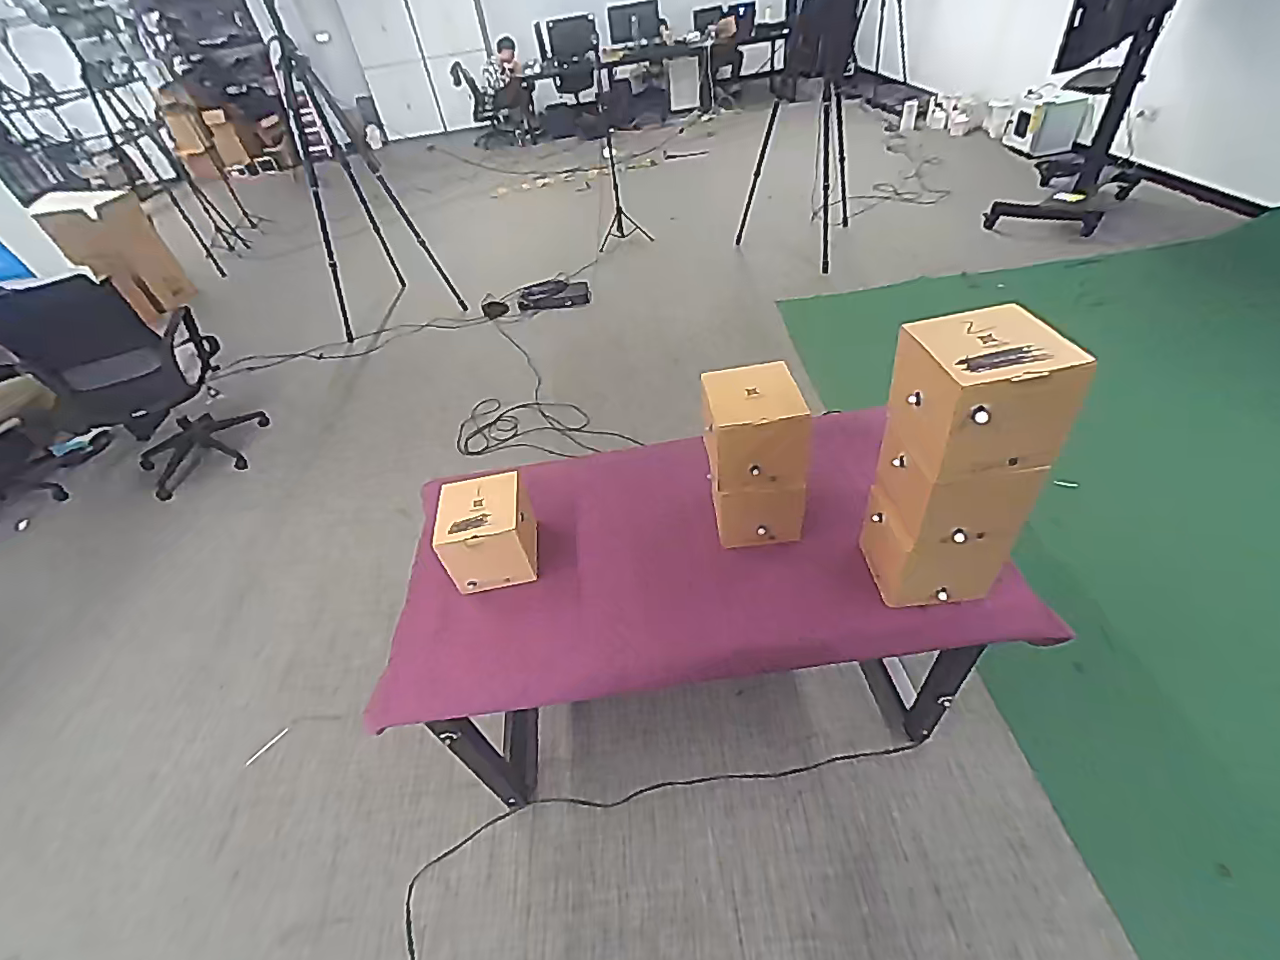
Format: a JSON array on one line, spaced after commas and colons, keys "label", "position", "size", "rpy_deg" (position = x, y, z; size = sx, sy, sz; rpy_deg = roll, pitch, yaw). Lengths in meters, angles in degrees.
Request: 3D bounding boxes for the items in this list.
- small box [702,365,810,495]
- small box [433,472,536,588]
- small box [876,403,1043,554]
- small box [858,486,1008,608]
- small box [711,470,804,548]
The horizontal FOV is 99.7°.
[{"label": "small box", "position": [0.214, -0.096, 1.045], "size": [0.168, 0.176, 0.179], "rpy_deg": [-8, 45, 1]}, {"label": "small box", "position": [-0.321, 0.113, 1.155], "size": [0.168, 0.176, 0.179], "rpy_deg": [-10, 43, -2]}, {"label": "small box", "position": [0.506, -0.002, 0.892], "size": [0.168, 0.176, 0.179], "rpy_deg": [-8, 43, 5]}, {"label": "small box", "position": [0.526, 0.118, 1.001], "size": [0.179, 0.176, 0.168], "rpy_deg": [-6, 43, 4]}, {"label": "small box", "position": [0.241, 0.023, 1.153], "size": [0.168, 0.176, 0.179], "rpy_deg": [-6, 44, 4]}]
